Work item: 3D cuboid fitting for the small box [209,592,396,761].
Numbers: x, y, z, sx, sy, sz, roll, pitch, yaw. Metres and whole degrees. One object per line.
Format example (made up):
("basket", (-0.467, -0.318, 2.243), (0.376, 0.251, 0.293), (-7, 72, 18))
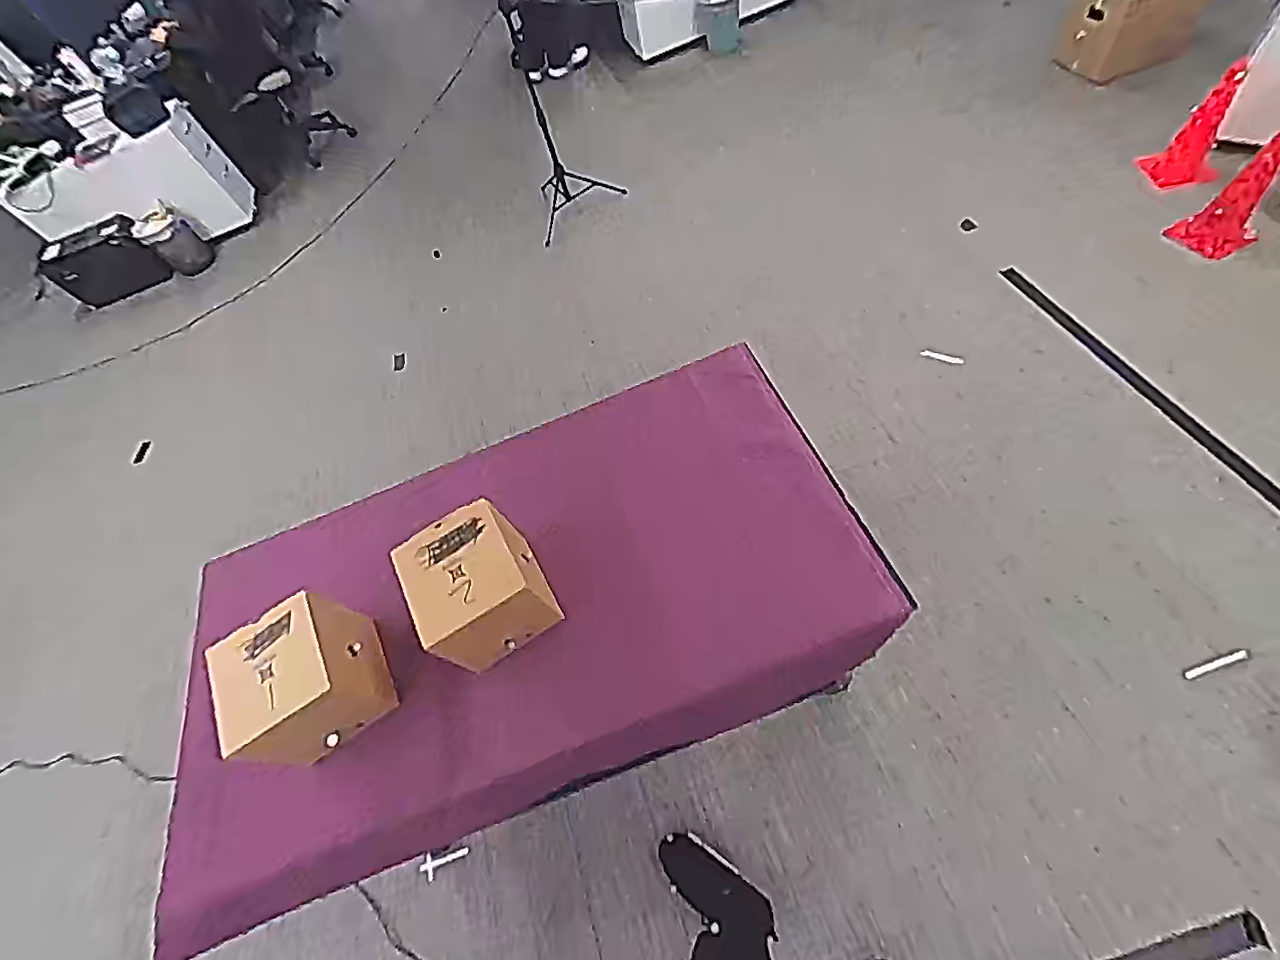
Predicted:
("small box", (-0.517, 0.311, 0.841), (0.168, 0.176, 0.179), (-34, 59, -6))
